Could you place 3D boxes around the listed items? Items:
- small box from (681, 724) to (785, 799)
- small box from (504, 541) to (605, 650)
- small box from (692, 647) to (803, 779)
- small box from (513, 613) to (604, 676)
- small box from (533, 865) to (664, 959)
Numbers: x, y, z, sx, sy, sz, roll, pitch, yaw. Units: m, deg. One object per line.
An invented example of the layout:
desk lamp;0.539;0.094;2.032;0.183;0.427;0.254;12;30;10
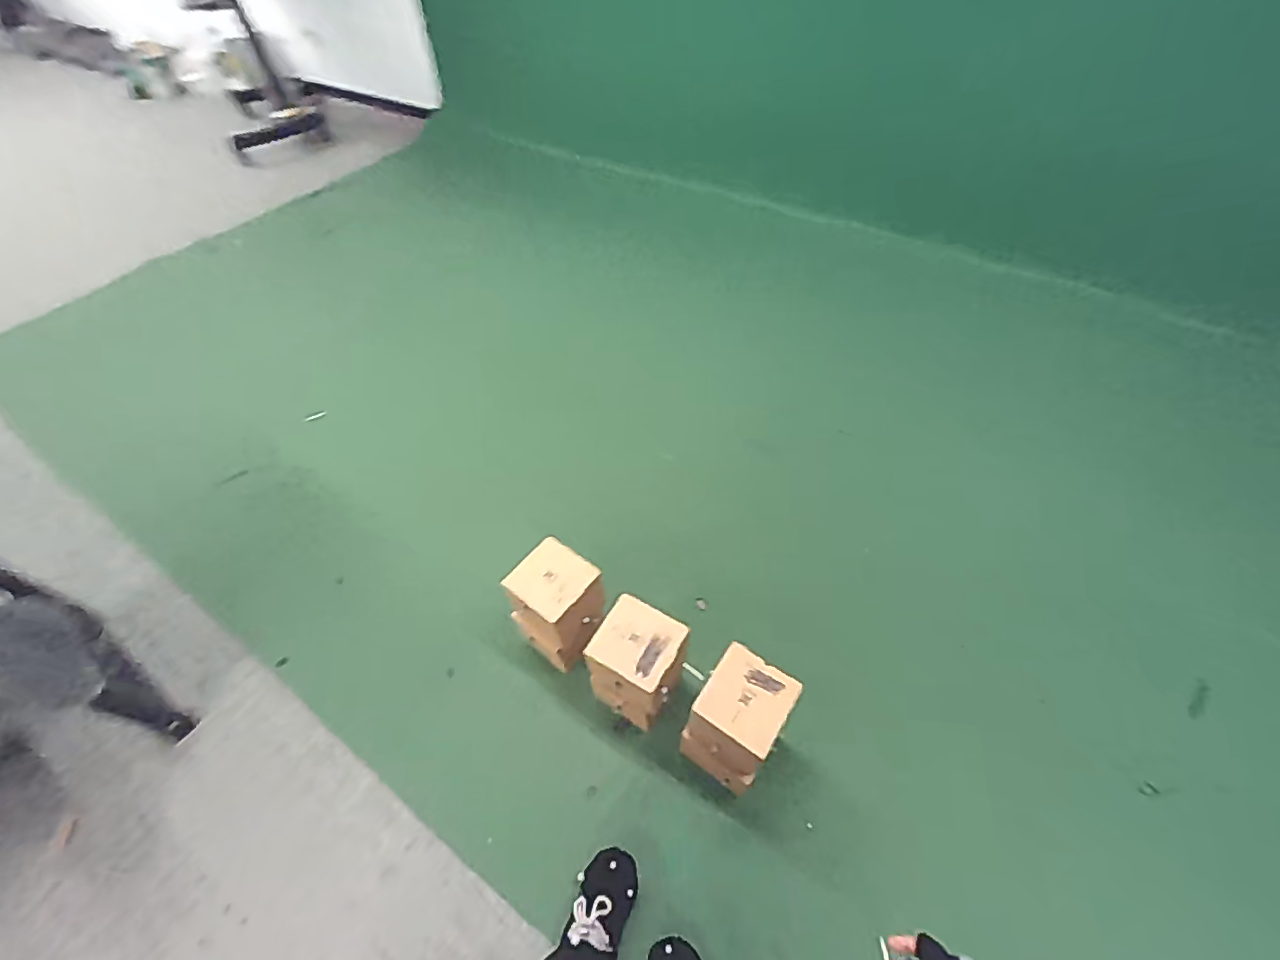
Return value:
small box;0.212;0.618;1.272;0.179;0.176;0.168;30;58;25
small box;-0.205;0.291;1.342;0.179;0.176;0.168;31;59;25
small box;0.220;0.499;1.157;0.168;0.176;0.179;29;58;23
small box;-0.212;0.397;1.469;0.168;0.176;0.179;32;59;25
small box;-0.085;0.899;1.063;0.168;0.176;0.179;-39;43;-5
